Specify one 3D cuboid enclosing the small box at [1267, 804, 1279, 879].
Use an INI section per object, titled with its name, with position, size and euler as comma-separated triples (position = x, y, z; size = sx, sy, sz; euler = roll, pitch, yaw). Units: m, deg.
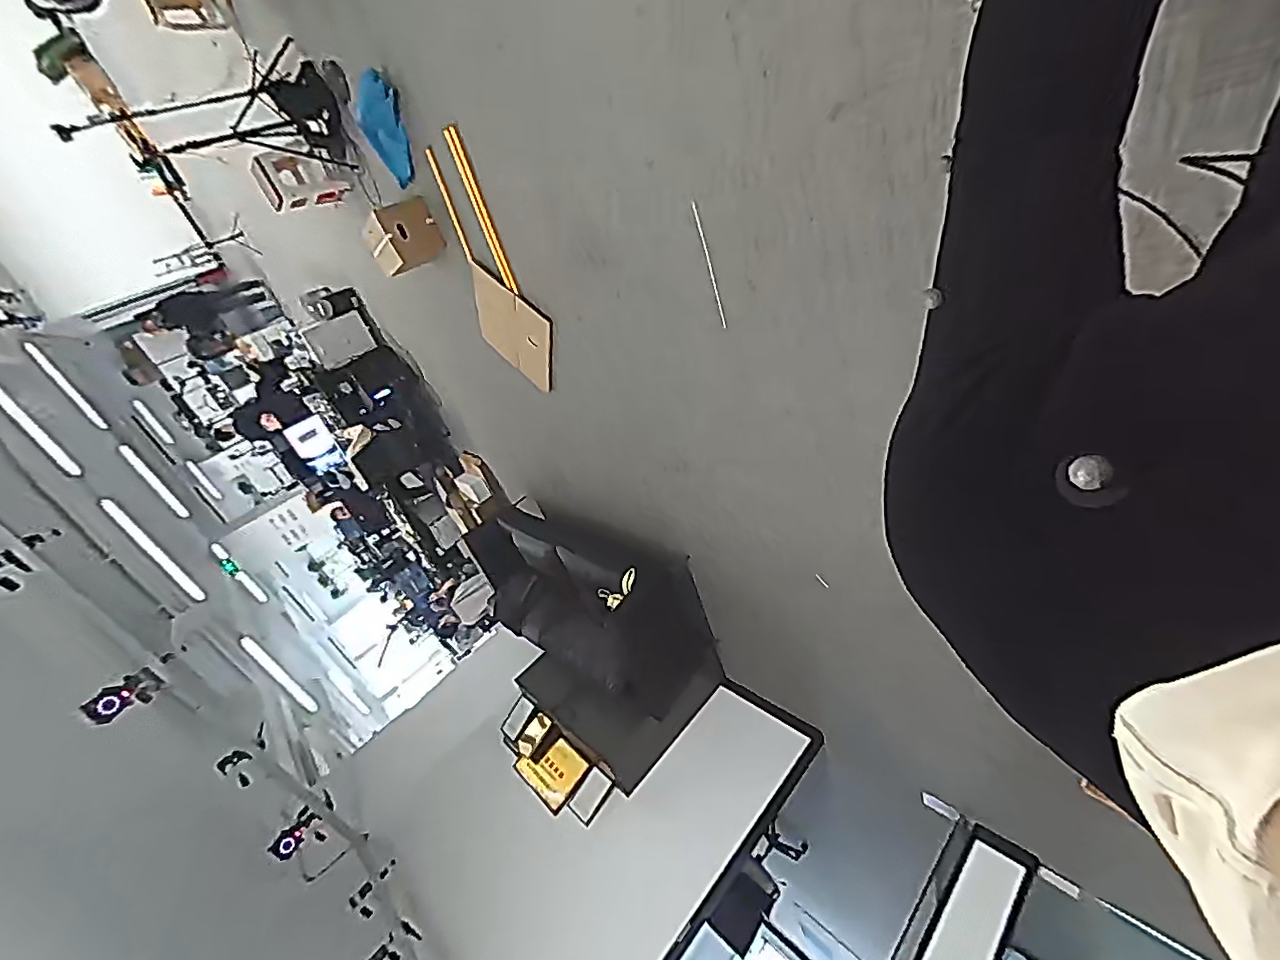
[small box]
position = 1.577, 0.839, 1.215
size = 0.179, 0.176, 0.168
euler = 19, 139, 43
